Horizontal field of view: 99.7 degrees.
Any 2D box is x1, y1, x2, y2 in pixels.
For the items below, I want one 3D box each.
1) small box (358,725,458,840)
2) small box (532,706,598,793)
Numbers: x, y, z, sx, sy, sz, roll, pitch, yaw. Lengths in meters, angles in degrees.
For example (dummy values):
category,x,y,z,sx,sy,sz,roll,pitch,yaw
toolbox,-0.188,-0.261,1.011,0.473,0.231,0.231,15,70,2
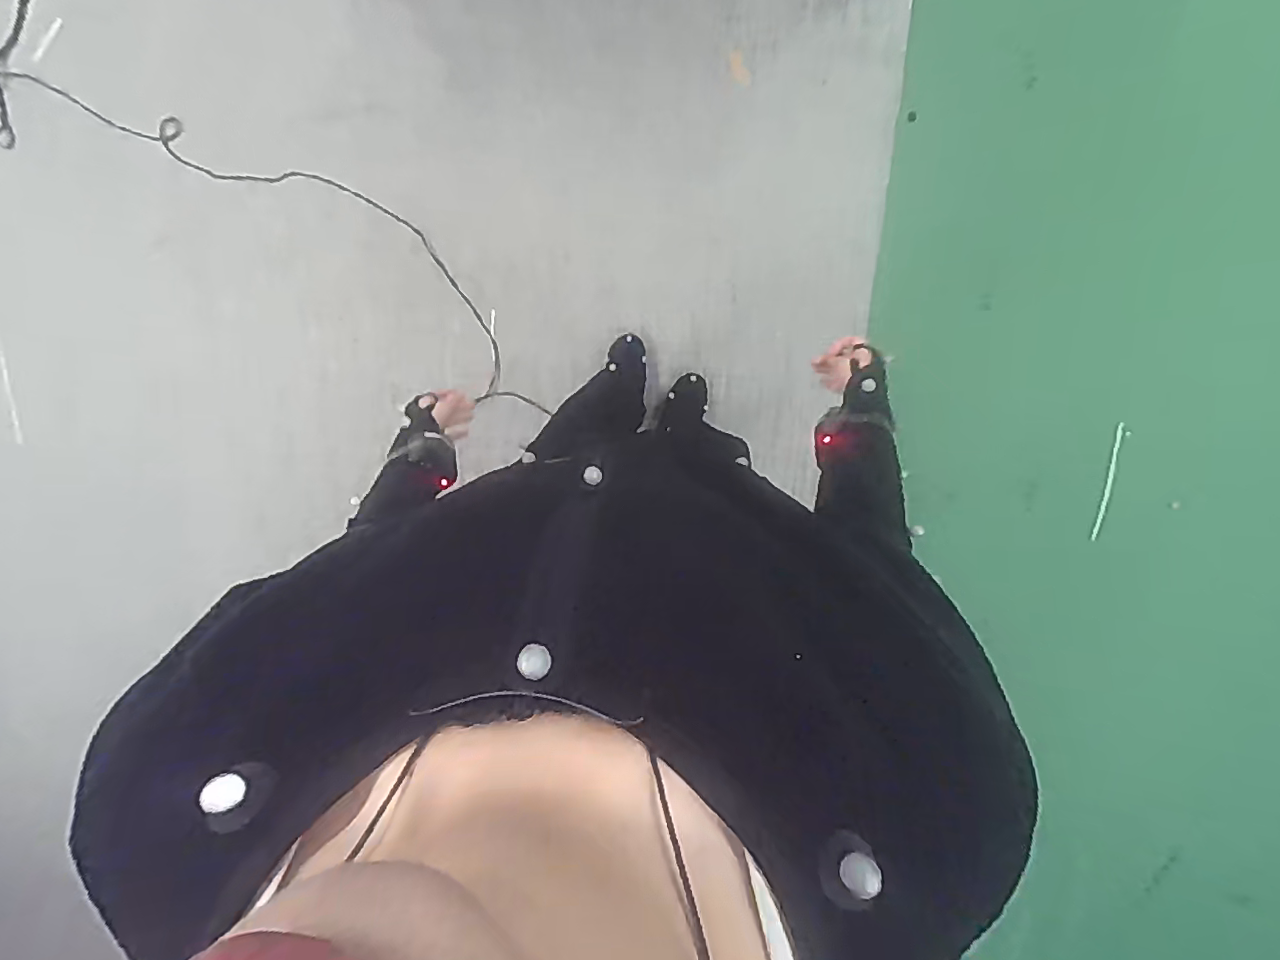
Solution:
category,x,y,z,sx,sy,sz,roll,pitch,yaw
small box,-0.622,0.814,1.470,0.168,0.176,0.179,24,103,1
small box,-0.220,0.798,1.603,0.168,0.176,0.179,2,103,5
